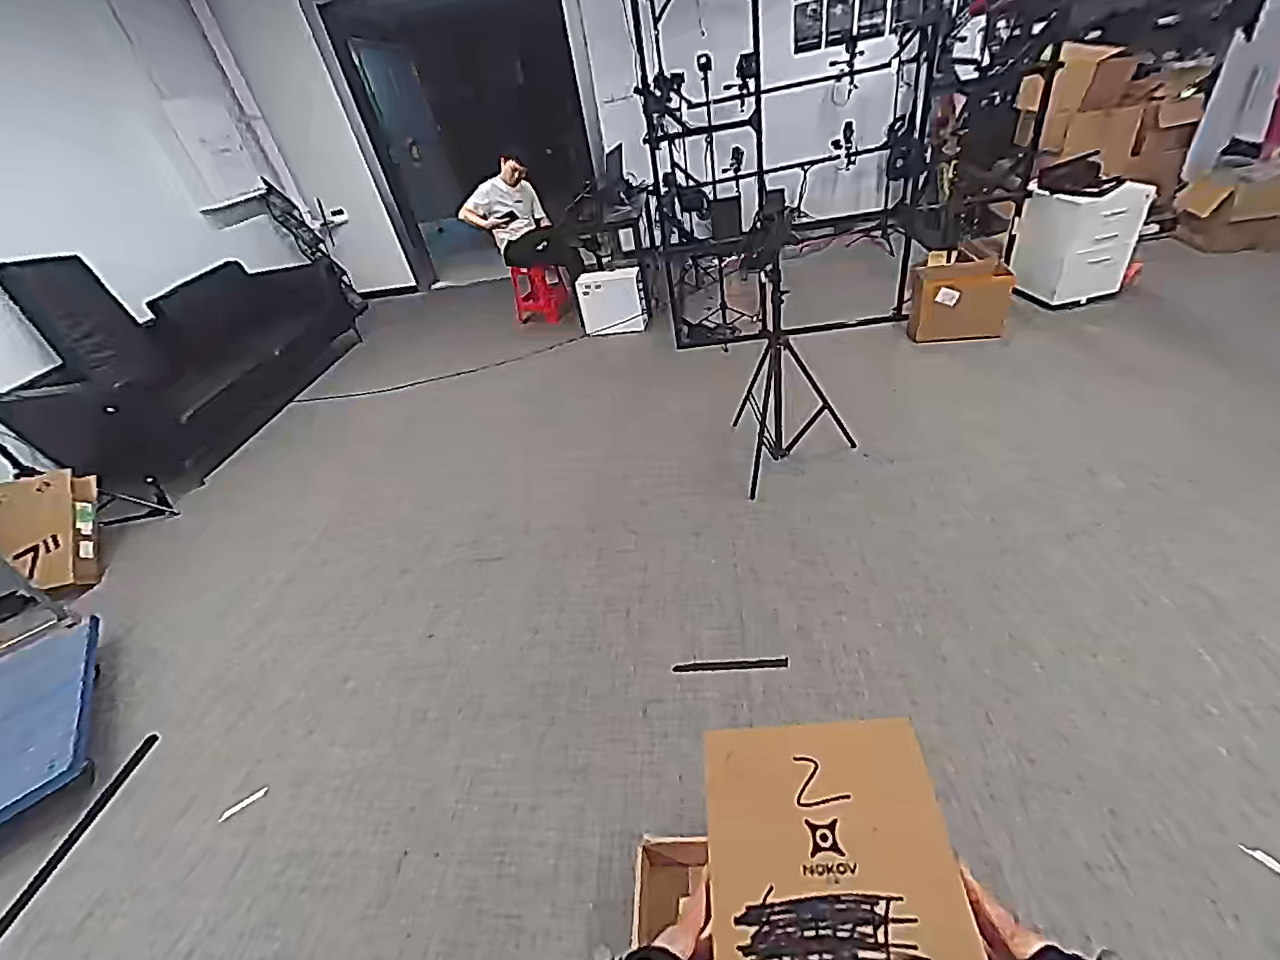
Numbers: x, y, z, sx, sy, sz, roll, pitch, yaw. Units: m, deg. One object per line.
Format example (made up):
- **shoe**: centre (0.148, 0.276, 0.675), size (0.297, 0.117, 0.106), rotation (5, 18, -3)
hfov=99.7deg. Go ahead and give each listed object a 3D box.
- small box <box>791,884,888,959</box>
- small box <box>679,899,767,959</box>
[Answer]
- **small box**: centre (0.382, 0.923, 1.046), size (0.168, 0.176, 0.179), rotation (-3, 38, 13)
- **small box**: centre (0.167, 0.953, 1.060), size (0.168, 0.176, 0.179), rotation (-5, 37, 6)
